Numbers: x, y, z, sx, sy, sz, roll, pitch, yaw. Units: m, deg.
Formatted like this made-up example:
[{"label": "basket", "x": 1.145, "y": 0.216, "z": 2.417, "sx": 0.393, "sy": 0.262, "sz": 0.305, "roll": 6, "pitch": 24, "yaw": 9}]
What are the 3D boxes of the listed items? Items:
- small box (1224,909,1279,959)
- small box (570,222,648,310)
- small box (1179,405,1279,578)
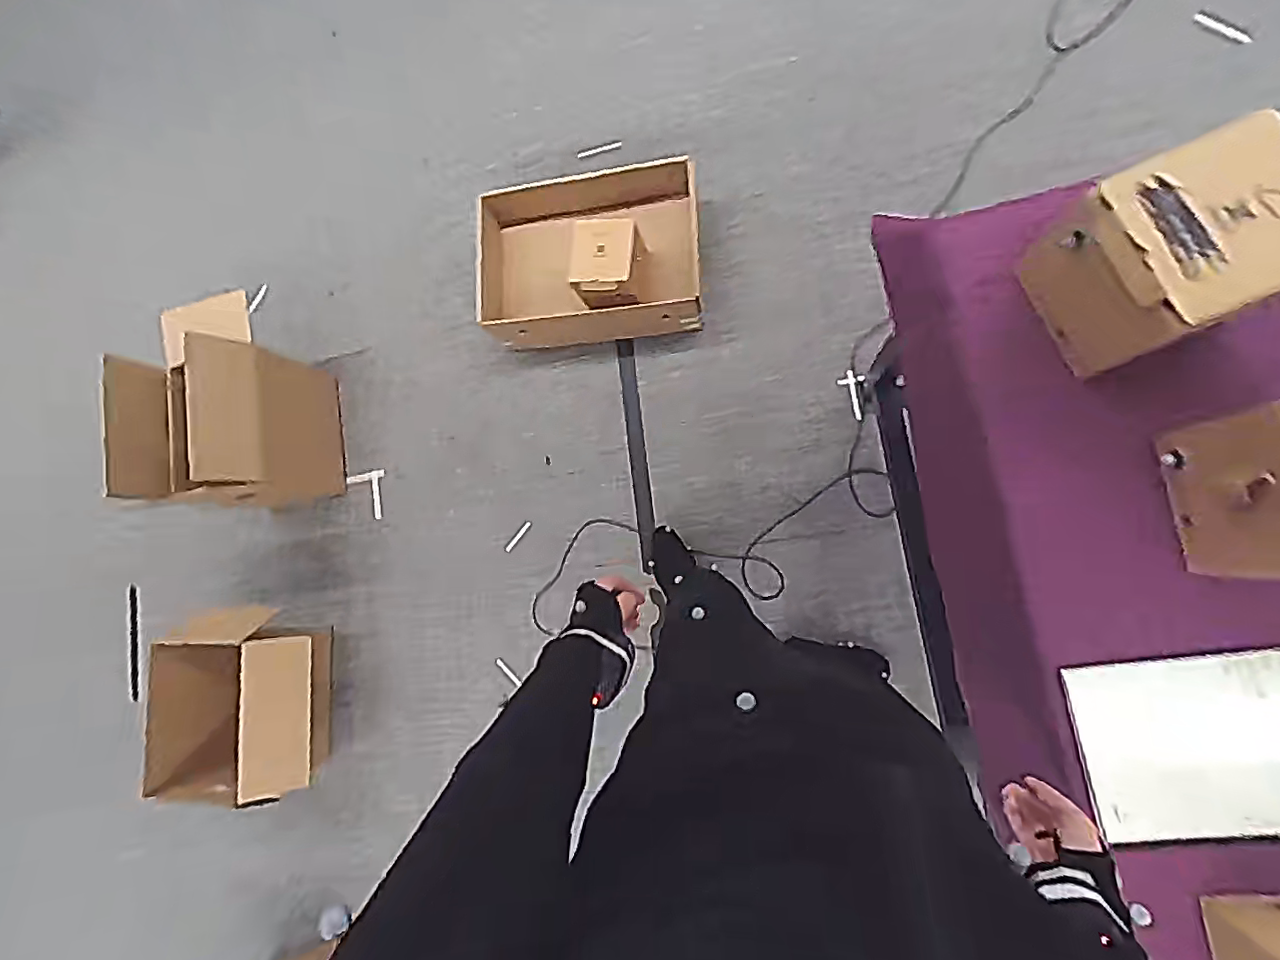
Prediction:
[{"label": "small box", "x": 0.683, "y": 0.517, "z": 0.471, "sx": 0.168, "sy": 0.176, "sz": 0.179, "roll": -8, "pitch": 81, "yaw": 12}, {"label": "small box", "x": -0.079, "y": -0.577, "z": 1.479, "sx": 0.168, "sy": 0.176, "sz": 0.179, "roll": 5, "pitch": 85, "yaw": 13}, {"label": "small box", "x": 0.693, "y": 0.007, "z": 0.532, "sx": 0.179, "sy": 0.176, "sz": 0.168, "roll": -9, "pitch": 82, "yaw": 11}]
